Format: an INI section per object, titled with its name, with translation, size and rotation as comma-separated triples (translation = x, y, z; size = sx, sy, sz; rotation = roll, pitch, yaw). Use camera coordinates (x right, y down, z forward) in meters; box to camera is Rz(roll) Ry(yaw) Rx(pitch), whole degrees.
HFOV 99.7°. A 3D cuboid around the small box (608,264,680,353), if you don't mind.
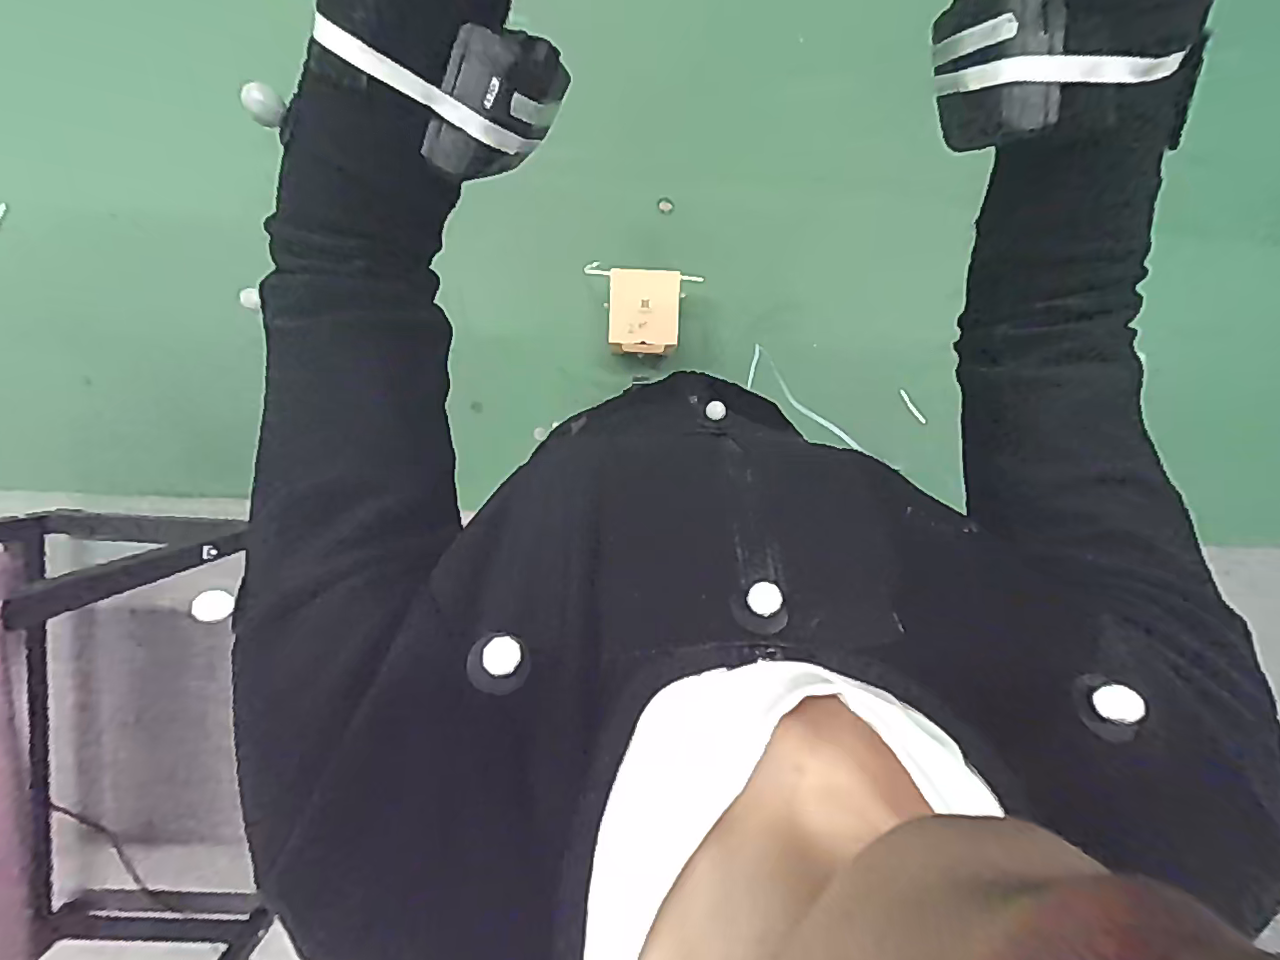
[small box]
translation = 0.005, -0.422, 1.352
size = 0.168, 0.176, 0.179
rotation = 2, 95, -3
